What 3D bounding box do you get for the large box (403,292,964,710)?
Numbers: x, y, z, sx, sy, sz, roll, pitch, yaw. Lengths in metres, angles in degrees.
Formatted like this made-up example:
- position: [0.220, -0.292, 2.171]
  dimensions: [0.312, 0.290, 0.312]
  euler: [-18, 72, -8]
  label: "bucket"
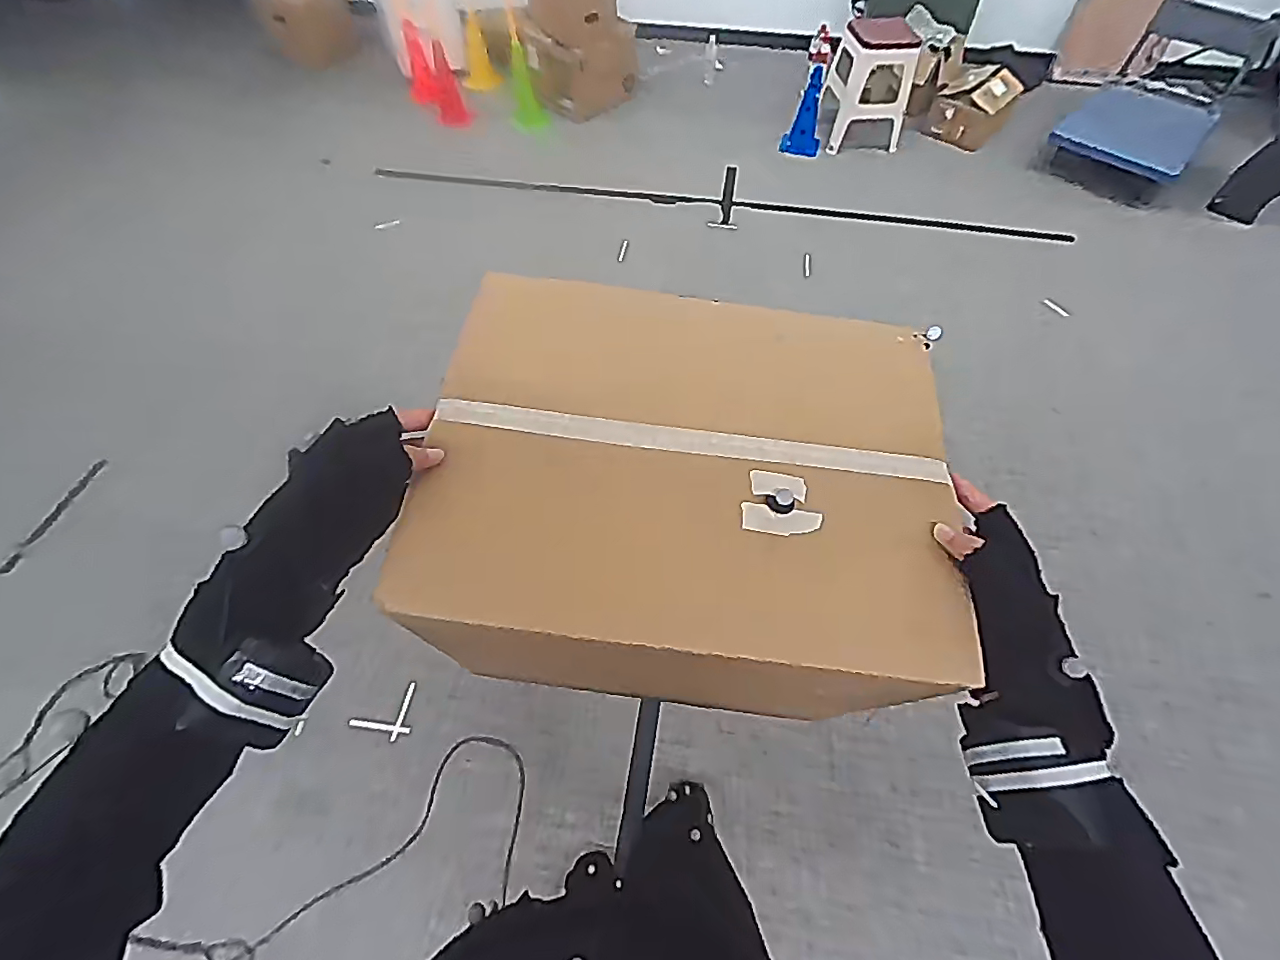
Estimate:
- position: [0.034, 0.046, 0.574]
  dimensions: [0.408, 0.320, 0.320]
  euler: [7, 62, 0]
  label: "large box"
